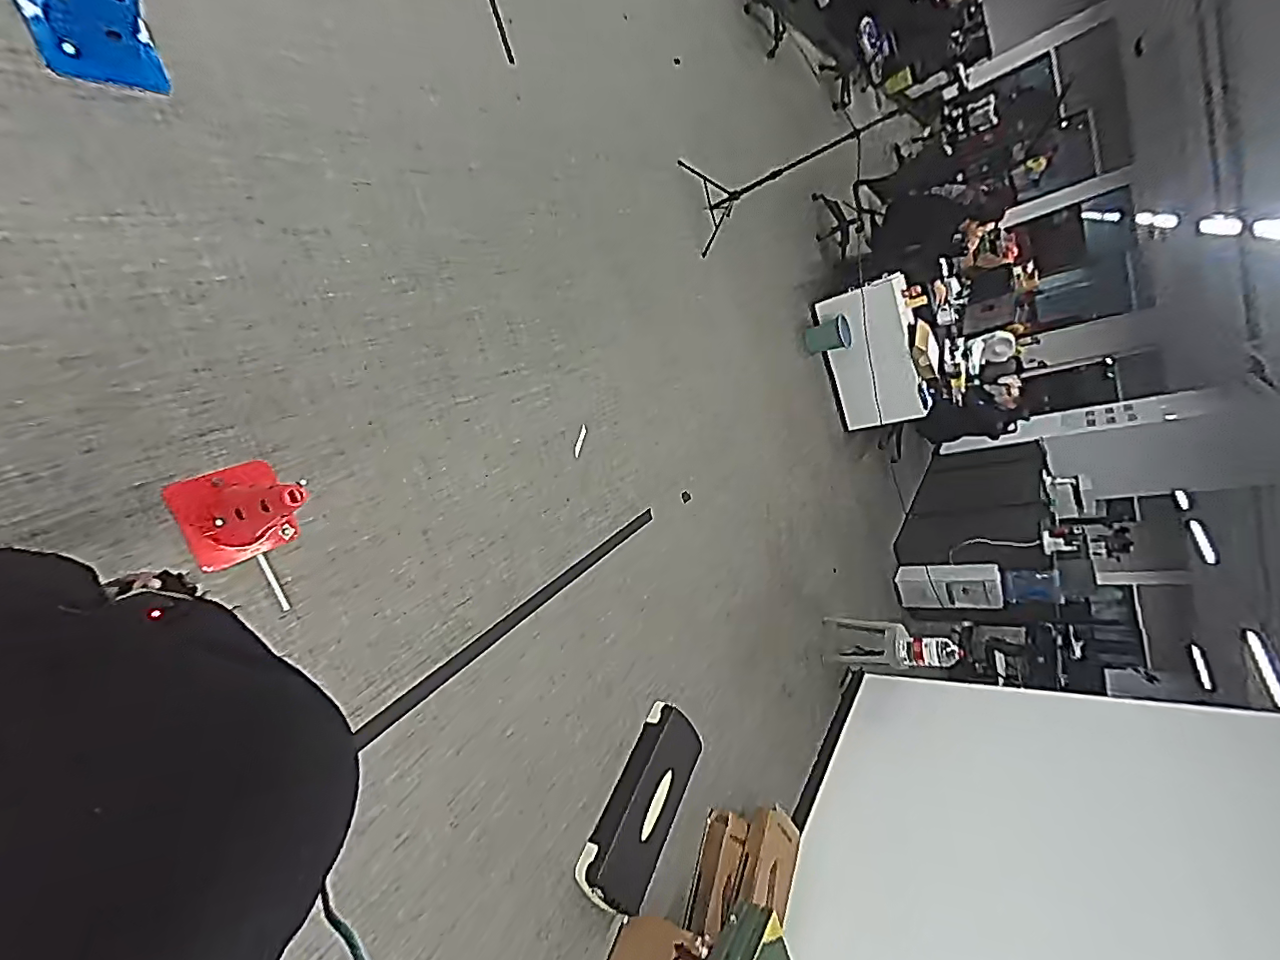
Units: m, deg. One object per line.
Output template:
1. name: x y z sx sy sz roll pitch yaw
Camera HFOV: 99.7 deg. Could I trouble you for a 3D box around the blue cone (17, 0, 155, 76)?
1. blue cone: -1.002 -0.954 0.992 0.193 0.380 0.192 -29 104 -50
